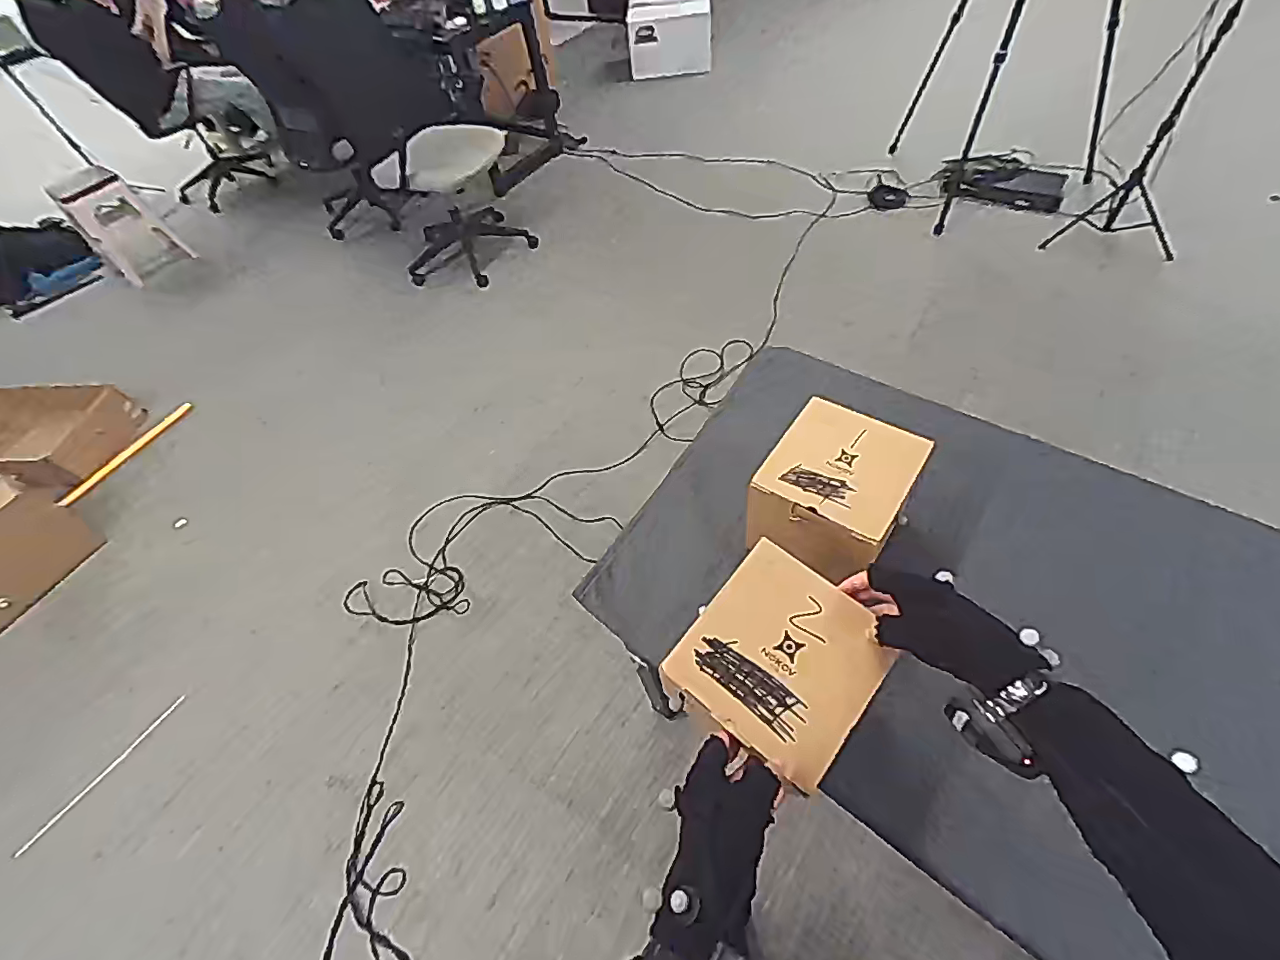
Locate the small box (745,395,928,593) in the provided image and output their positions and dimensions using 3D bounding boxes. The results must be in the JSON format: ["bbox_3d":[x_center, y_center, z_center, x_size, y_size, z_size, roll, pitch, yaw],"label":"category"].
[{"bbox_3d":[0.258,0.023,0.739,0.168,0.176,0.179,28,63,25],"label":"small box"}]
